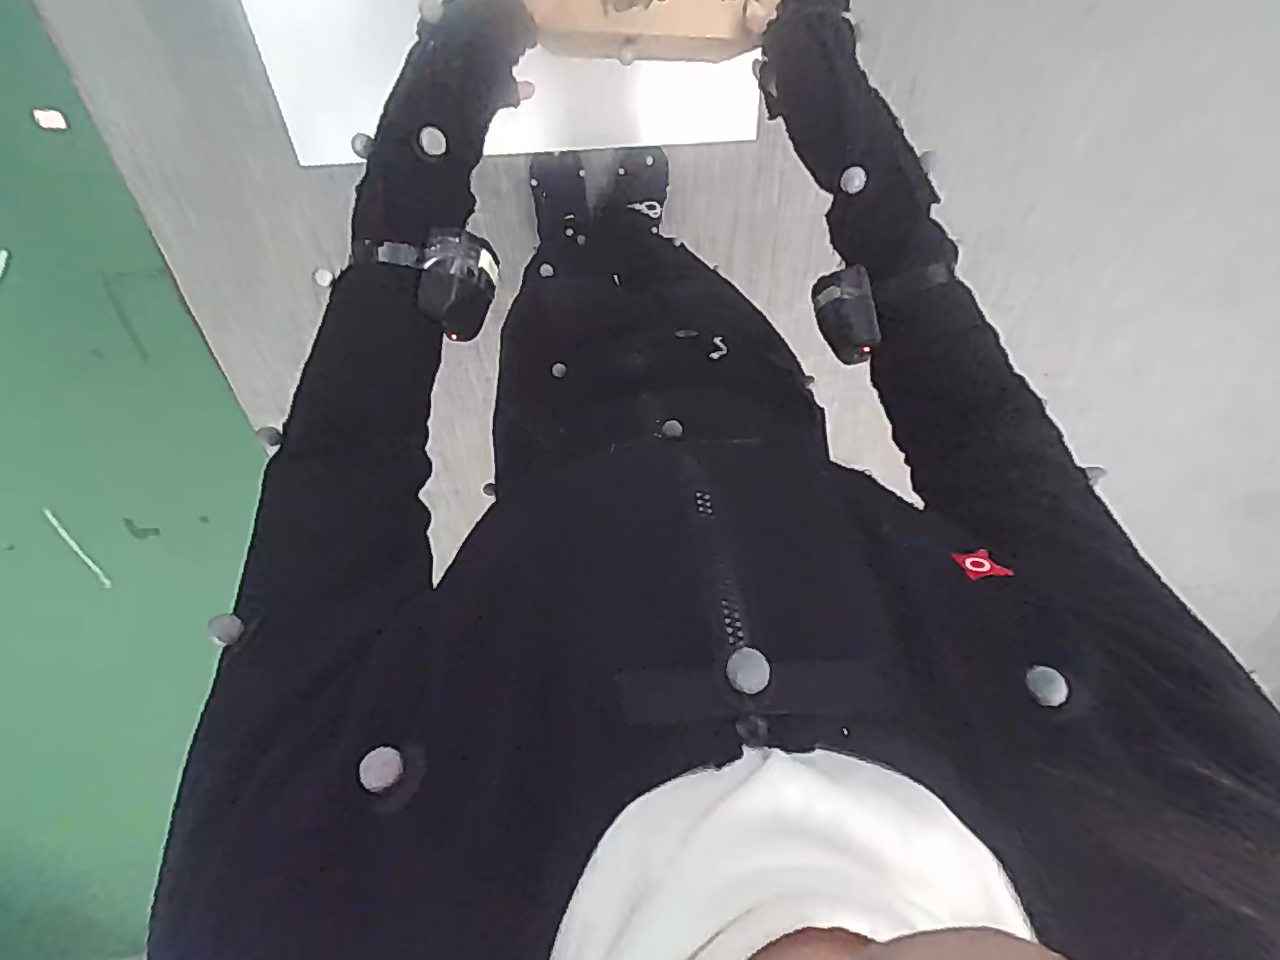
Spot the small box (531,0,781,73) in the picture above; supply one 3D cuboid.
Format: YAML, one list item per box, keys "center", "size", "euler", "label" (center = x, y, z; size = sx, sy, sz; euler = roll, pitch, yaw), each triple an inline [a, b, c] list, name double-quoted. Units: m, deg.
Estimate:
- center: [0.007, -0.407, 0.381]
  size: [0.168, 0.176, 0.179]
  euler: [-1, 123, -4]
  label: "small box"
